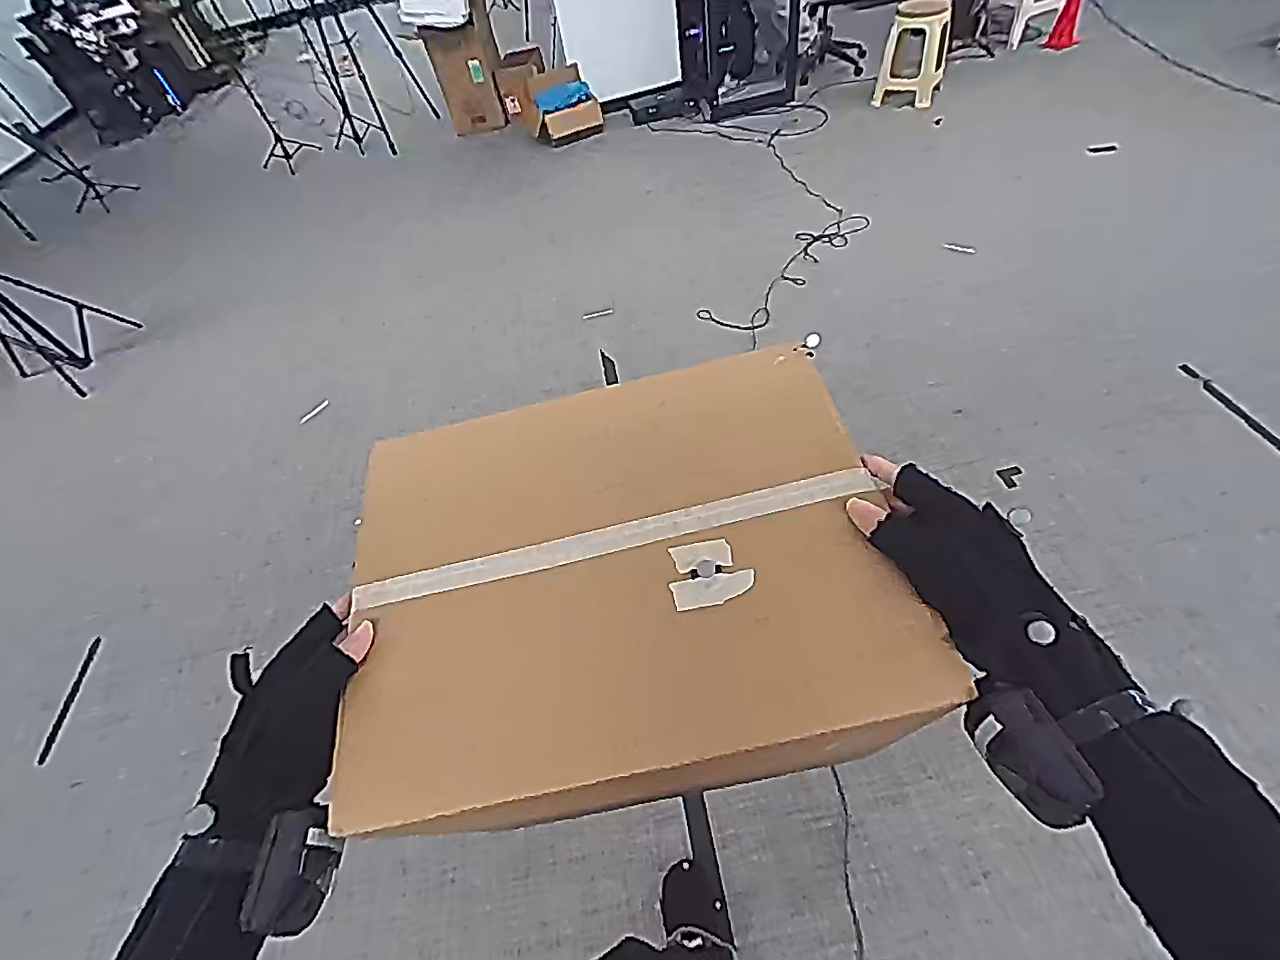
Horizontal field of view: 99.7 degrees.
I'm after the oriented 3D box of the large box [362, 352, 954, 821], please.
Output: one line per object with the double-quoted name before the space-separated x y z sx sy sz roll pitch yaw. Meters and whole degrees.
"large box" 0.004 0.128 0.552 0.408 0.320 0.320 -13 57 1
